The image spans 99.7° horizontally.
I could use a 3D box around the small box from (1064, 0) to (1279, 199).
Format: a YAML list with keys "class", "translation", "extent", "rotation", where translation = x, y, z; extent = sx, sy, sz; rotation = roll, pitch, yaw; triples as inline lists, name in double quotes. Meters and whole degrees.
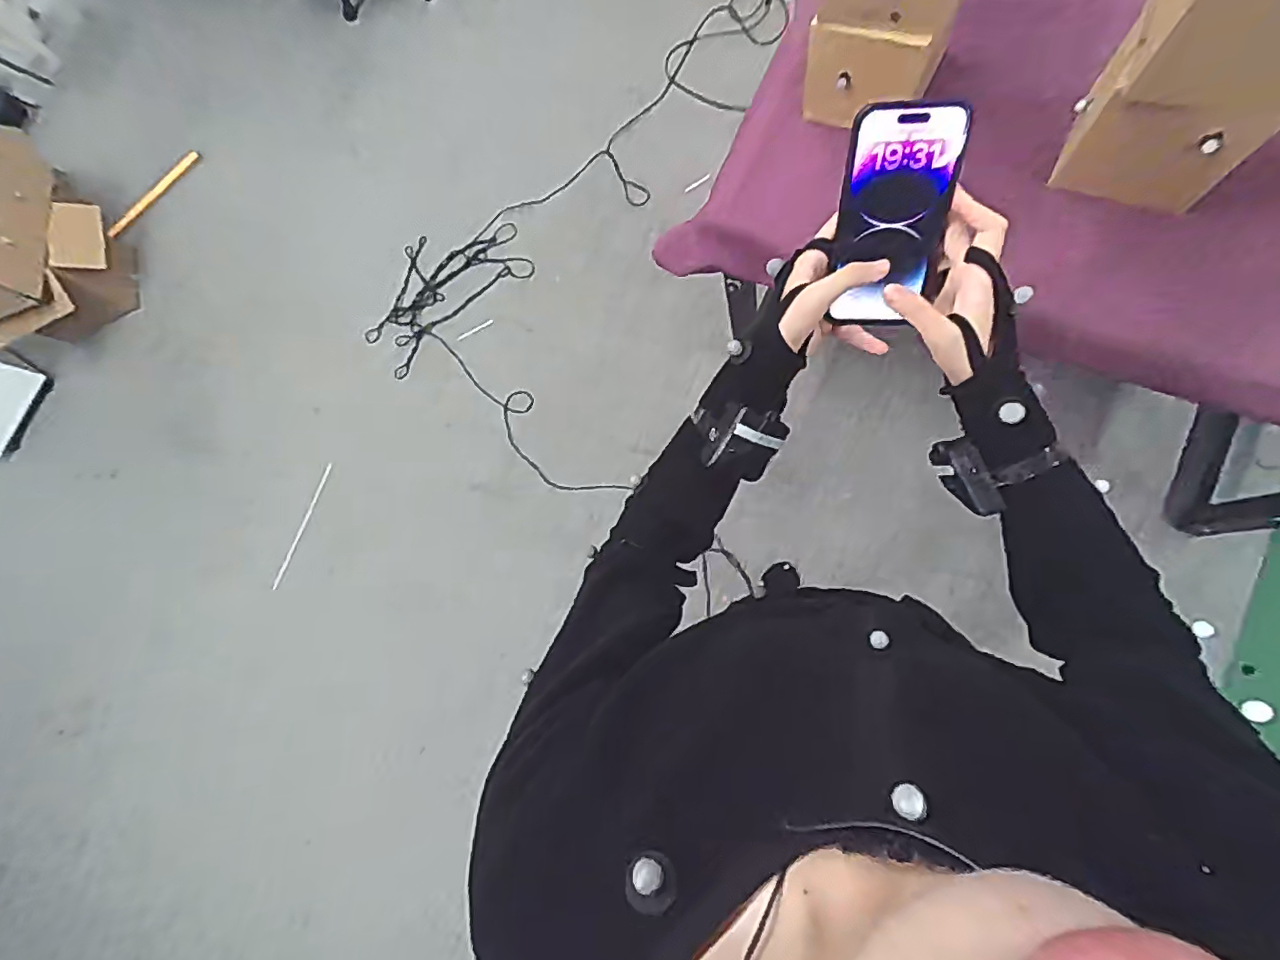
- class: "small box"
  translation: [0.699, -0.492, 0.685]
  extent: [0.179, 0.176, 0.168]
  rotation: [25, 86, 17]

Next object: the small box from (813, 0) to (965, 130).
- class: "small box"
  translation: [0.370, -0.667, 0.804]
  extent: [0.168, 0.176, 0.179]
  rotation: [25, 86, 17]

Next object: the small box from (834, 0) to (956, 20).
- class: "small box"
  translation: [0.334, -0.705, 0.648]
  extent: [0.168, 0.176, 0.179]
  rotation: [20, 86, 16]
